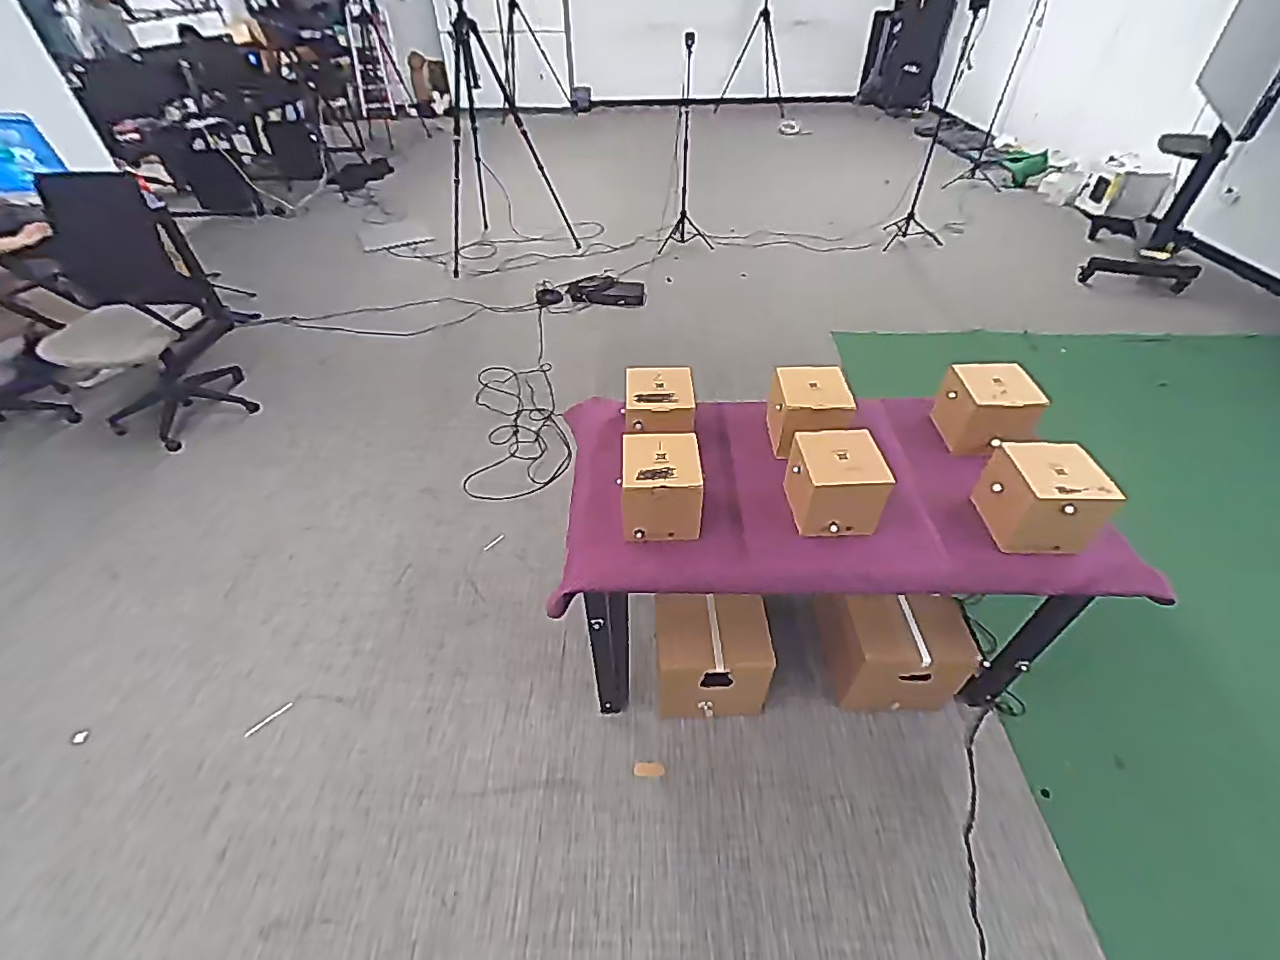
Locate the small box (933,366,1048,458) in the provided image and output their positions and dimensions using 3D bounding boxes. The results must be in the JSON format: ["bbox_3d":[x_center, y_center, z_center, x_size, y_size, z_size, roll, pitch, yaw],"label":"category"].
[{"bbox_3d":[0.881,-0.174,1.380,0.168,0.176,0.179,-1,45,4],"label":"small box"}]

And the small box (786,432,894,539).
[{"bbox_3d":[0.433,0.011,1.202,0.168,0.176,0.179,-2,43,1],"label":"small box"}]

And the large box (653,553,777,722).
[{"bbox_3d":[0.208,0.482,1.673,0.320,0.320,0.408,-1,42,-1],"label":"large box"}]

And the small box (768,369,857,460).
[{"bbox_3d":[0.433,-0.167,1.393,0.168,0.176,0.179,0,45,1],"label":"small box"}]

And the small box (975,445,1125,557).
[{"bbox_3d":[0.855,0.042,1.153,0.168,0.176,0.179,0,41,4],"label":"small box"}]

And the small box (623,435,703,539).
[{"bbox_3d":[0.049,0.019,1.202,0.168,0.176,0.179,-1,42,0],"label":"small box"}]
